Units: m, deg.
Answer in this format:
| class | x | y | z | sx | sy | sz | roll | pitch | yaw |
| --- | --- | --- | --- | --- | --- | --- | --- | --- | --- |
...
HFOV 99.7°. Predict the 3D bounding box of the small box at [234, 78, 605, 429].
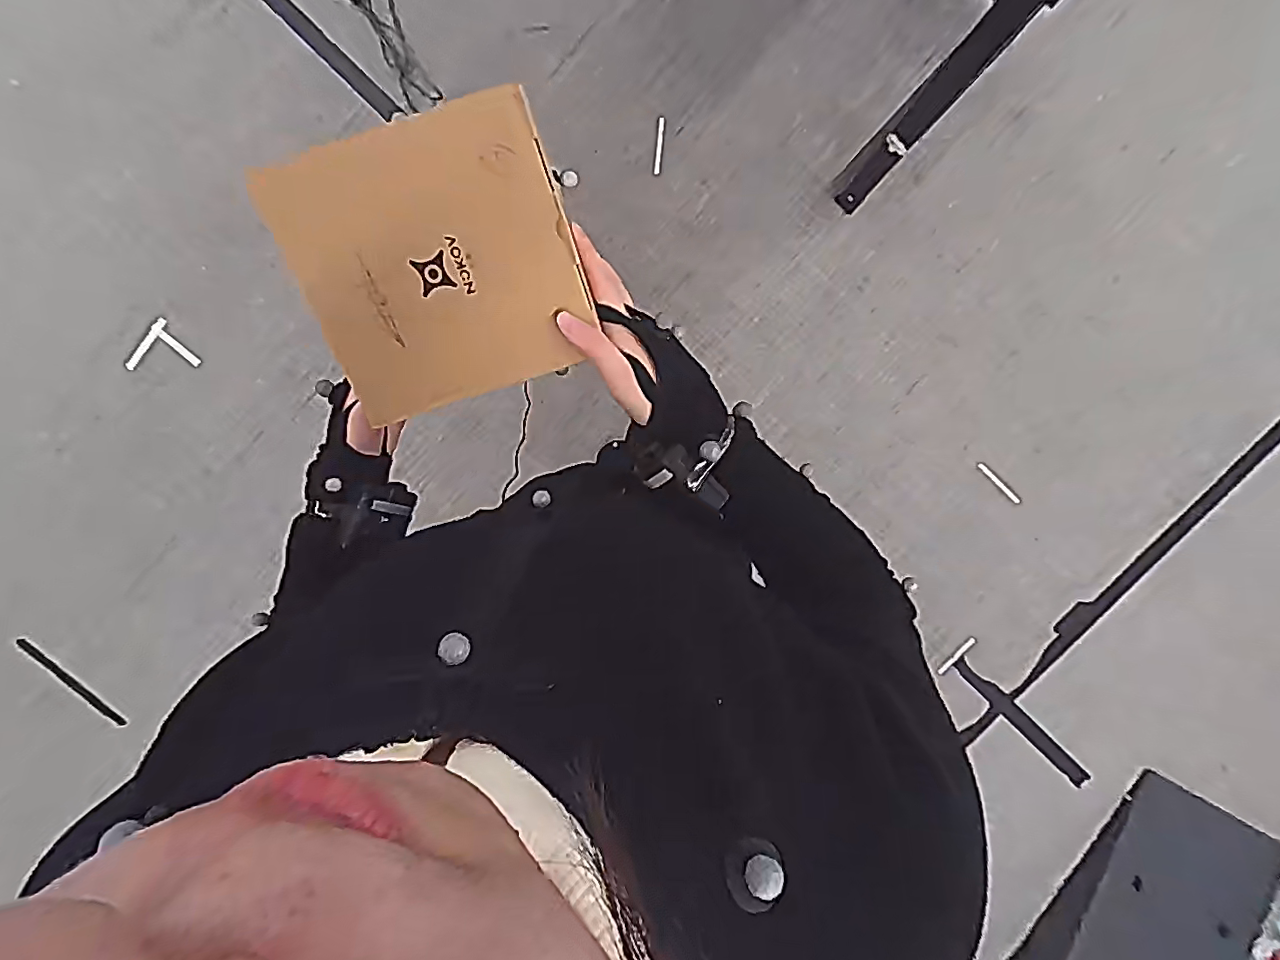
| class | x | y | z | sx | sy | sz | roll | pitch | yaw |
| --- | --- | --- | --- | --- | --- | --- | --- | --- | --- |
| small box | -0.134 | -0.160 | 0.407 | 0.179 | 0.176 | 0.168 | -17 | 112 | 3 |
